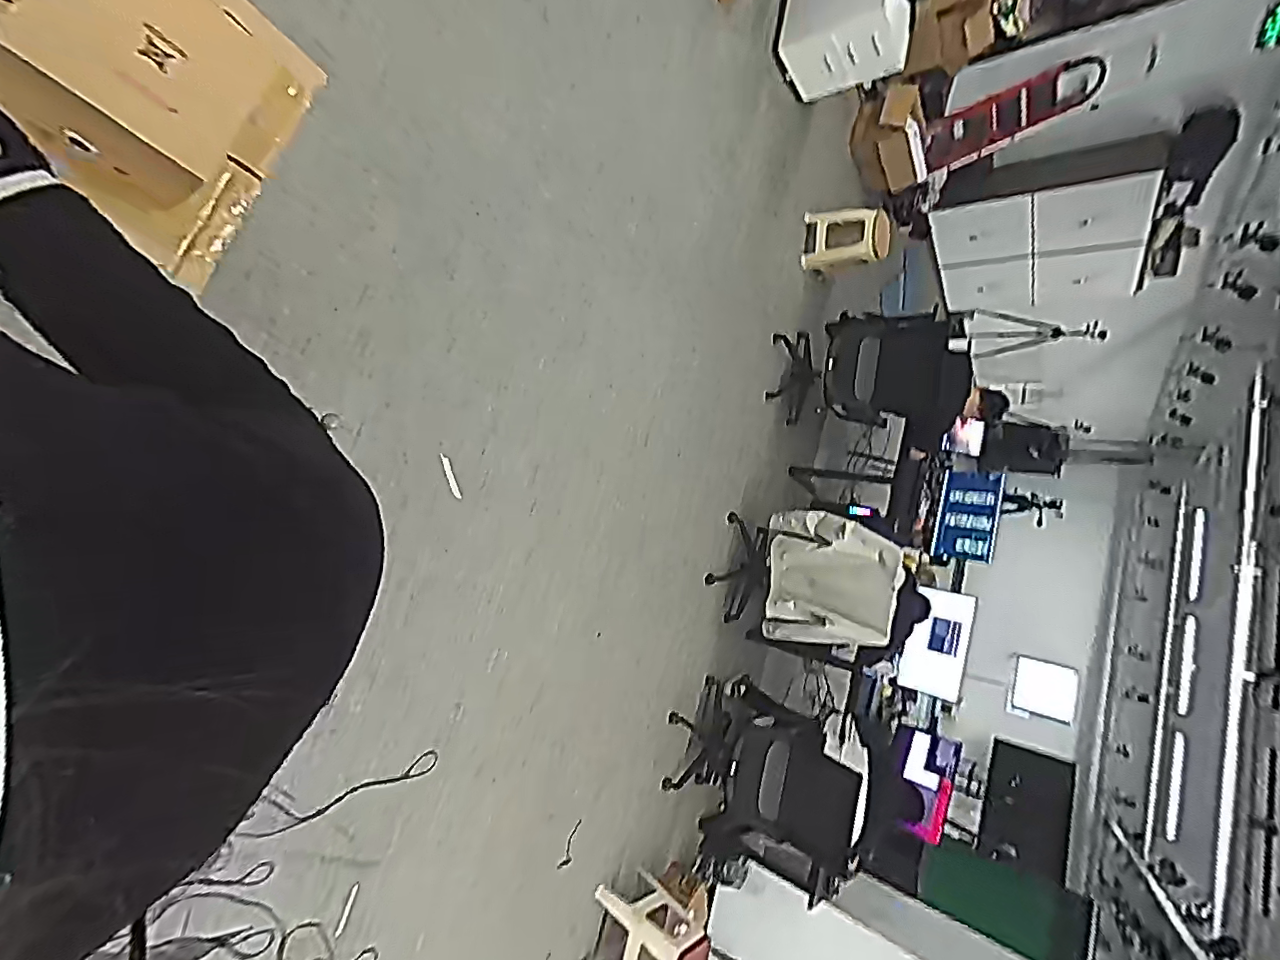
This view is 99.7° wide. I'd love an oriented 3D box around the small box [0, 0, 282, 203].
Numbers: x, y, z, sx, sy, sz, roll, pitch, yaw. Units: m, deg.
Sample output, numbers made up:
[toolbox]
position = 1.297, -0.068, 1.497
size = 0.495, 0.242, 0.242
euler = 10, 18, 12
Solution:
[small box]
position = -0.542, -0.442, 0.591
size = 0.168, 0.176, 0.179
euler = 33, 73, -47
